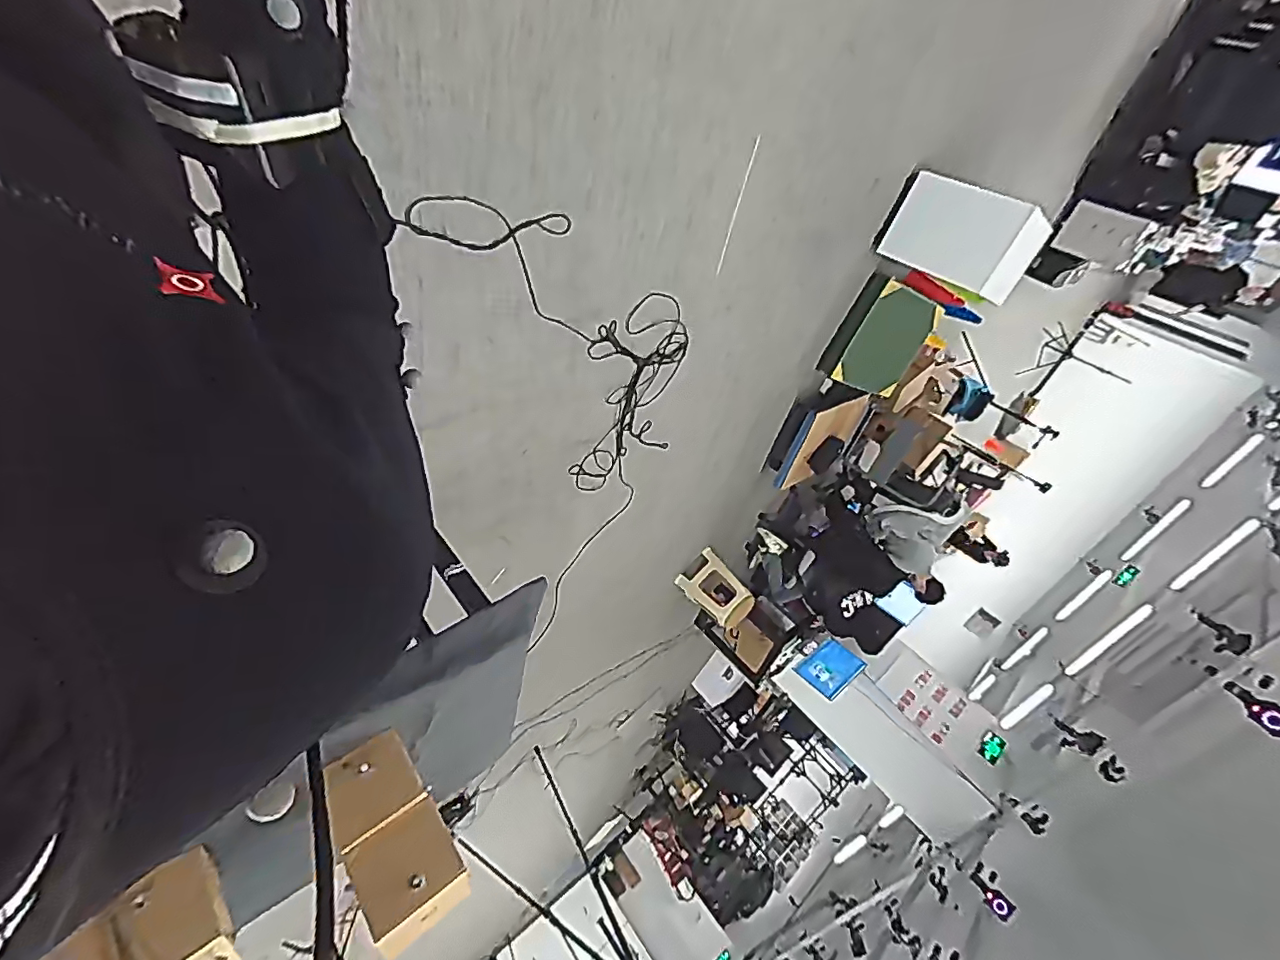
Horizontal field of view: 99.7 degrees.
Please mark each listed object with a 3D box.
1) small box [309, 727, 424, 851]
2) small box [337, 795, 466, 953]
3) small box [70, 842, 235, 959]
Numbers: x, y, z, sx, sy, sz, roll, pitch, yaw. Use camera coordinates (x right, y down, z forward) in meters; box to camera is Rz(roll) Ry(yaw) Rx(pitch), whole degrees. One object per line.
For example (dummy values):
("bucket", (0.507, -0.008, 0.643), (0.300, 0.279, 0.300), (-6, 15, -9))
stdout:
("small box", (-0.564, 0.661, 1.142), (0.168, 0.176, 0.179), (-27, 144, -32))
("small box", (-0.466, 0.769, 1.069), (0.179, 0.176, 0.168), (-24, 141, -34))
("small box", (-0.835, 0.780, 0.930), (0.179, 0.176, 0.168), (-19, 140, -40))
